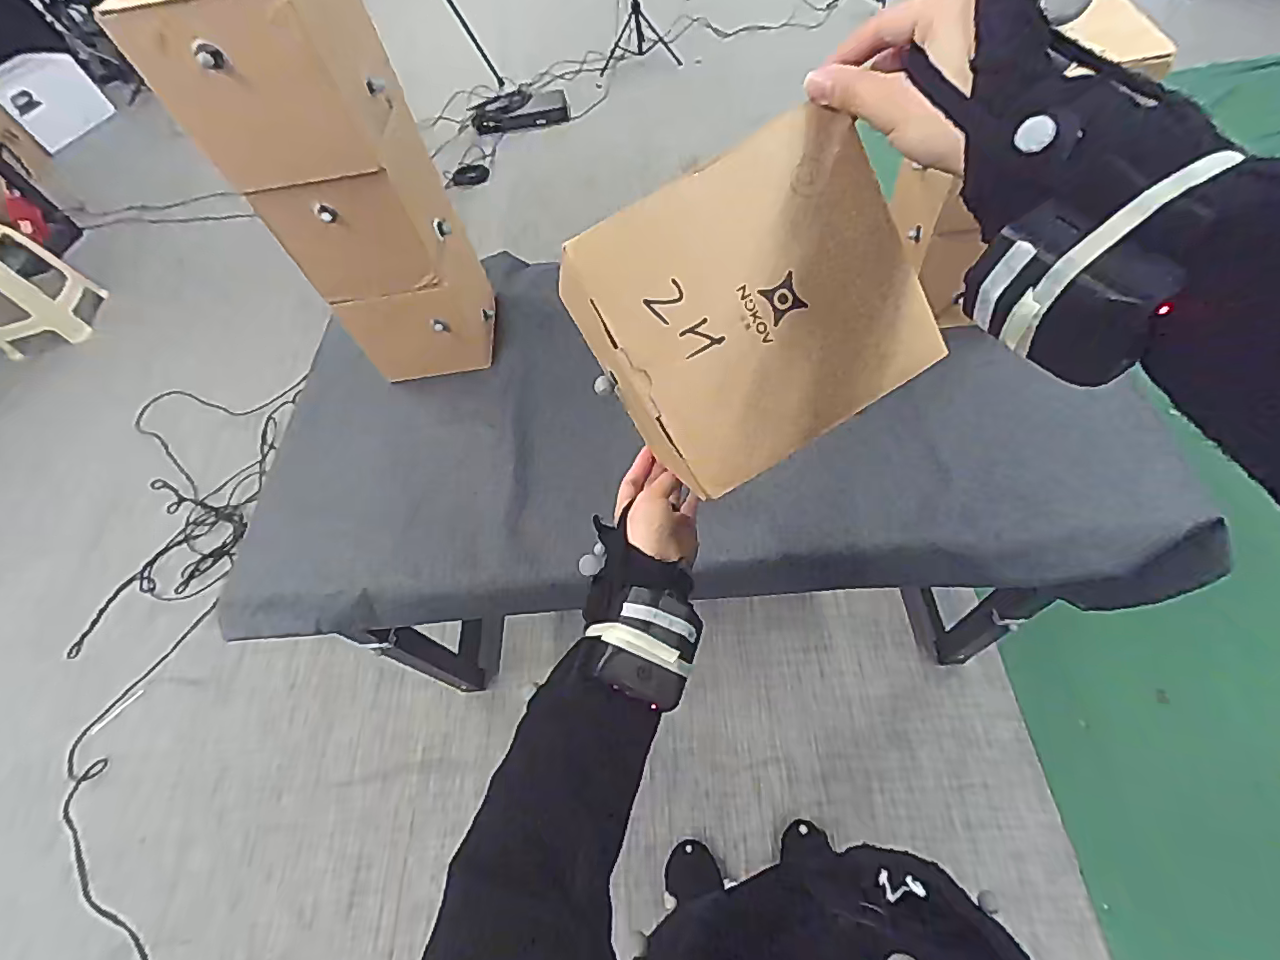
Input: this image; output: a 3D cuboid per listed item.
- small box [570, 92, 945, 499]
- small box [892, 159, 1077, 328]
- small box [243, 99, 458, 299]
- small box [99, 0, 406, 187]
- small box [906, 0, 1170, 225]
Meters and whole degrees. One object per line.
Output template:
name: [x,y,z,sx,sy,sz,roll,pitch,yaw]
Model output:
small box: [0.062,-0.114,0.382,0.179,0.176,0.168,-31,103,-1]
small box: [0.455,-0.338,0.765,0.168,0.176,0.179,-3,60,8]
small box: [-0.365,-0.363,0.719,0.179,0.176,0.168,-8,60,3]
small box: [-0.382,-0.439,0.574,0.179,0.176,0.168,-6,60,4]
small box: [0.429,-0.417,0.623,0.168,0.176,0.179,-3,60,7]
